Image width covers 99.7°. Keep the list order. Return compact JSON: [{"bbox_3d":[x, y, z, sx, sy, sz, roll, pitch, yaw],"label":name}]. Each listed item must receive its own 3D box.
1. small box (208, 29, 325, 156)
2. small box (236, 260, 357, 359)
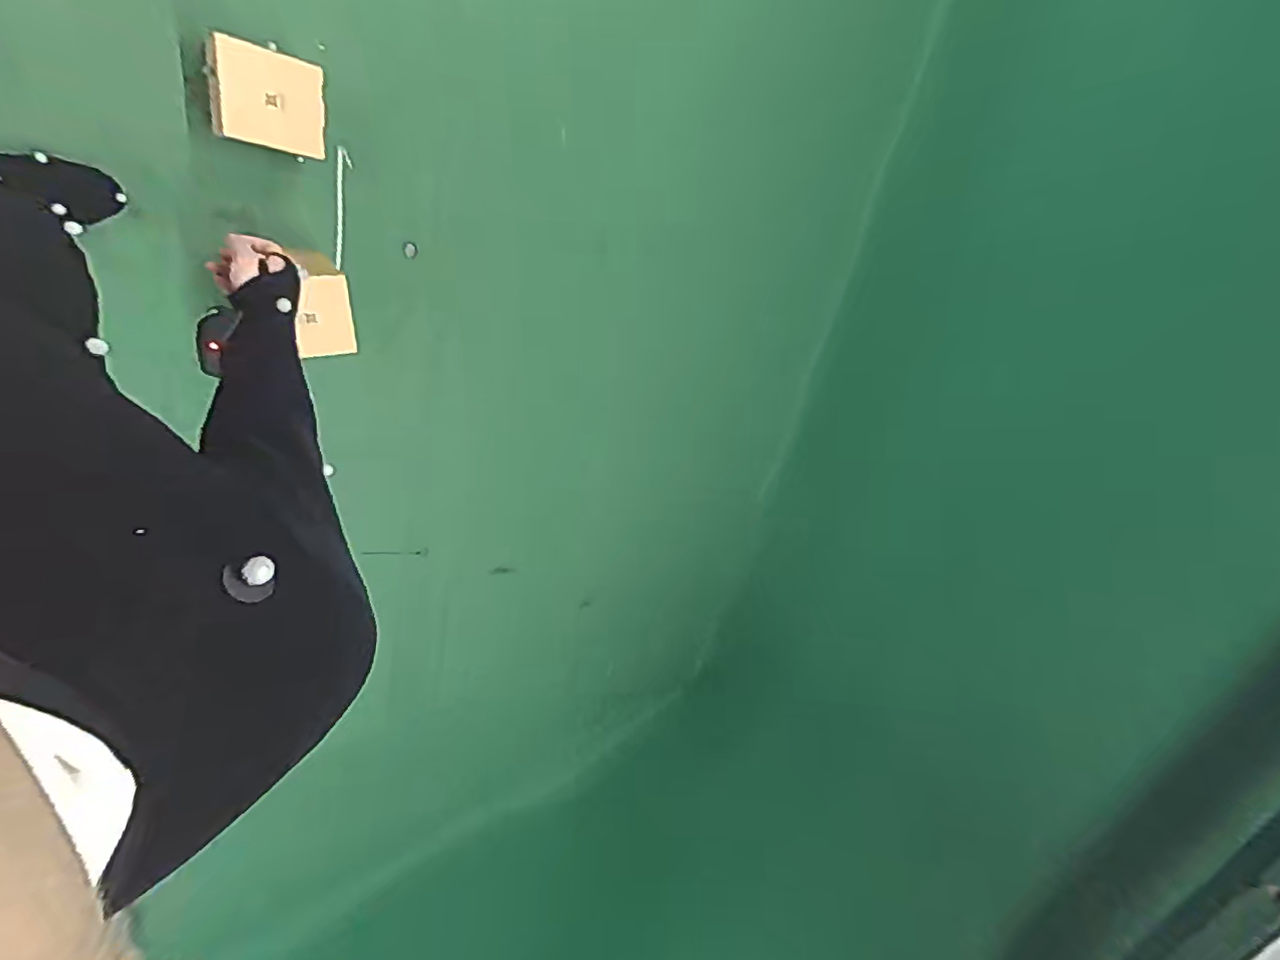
[{"bbox_3d":[-0.762,-0.778,1.103,0.179,0.176,0.168,-9,123,-42],"label":"small box"},{"bbox_3d":[-0.733,-0.371,1.157,0.179,0.176,0.168,-16,127,-35],"label":"small box"}]
